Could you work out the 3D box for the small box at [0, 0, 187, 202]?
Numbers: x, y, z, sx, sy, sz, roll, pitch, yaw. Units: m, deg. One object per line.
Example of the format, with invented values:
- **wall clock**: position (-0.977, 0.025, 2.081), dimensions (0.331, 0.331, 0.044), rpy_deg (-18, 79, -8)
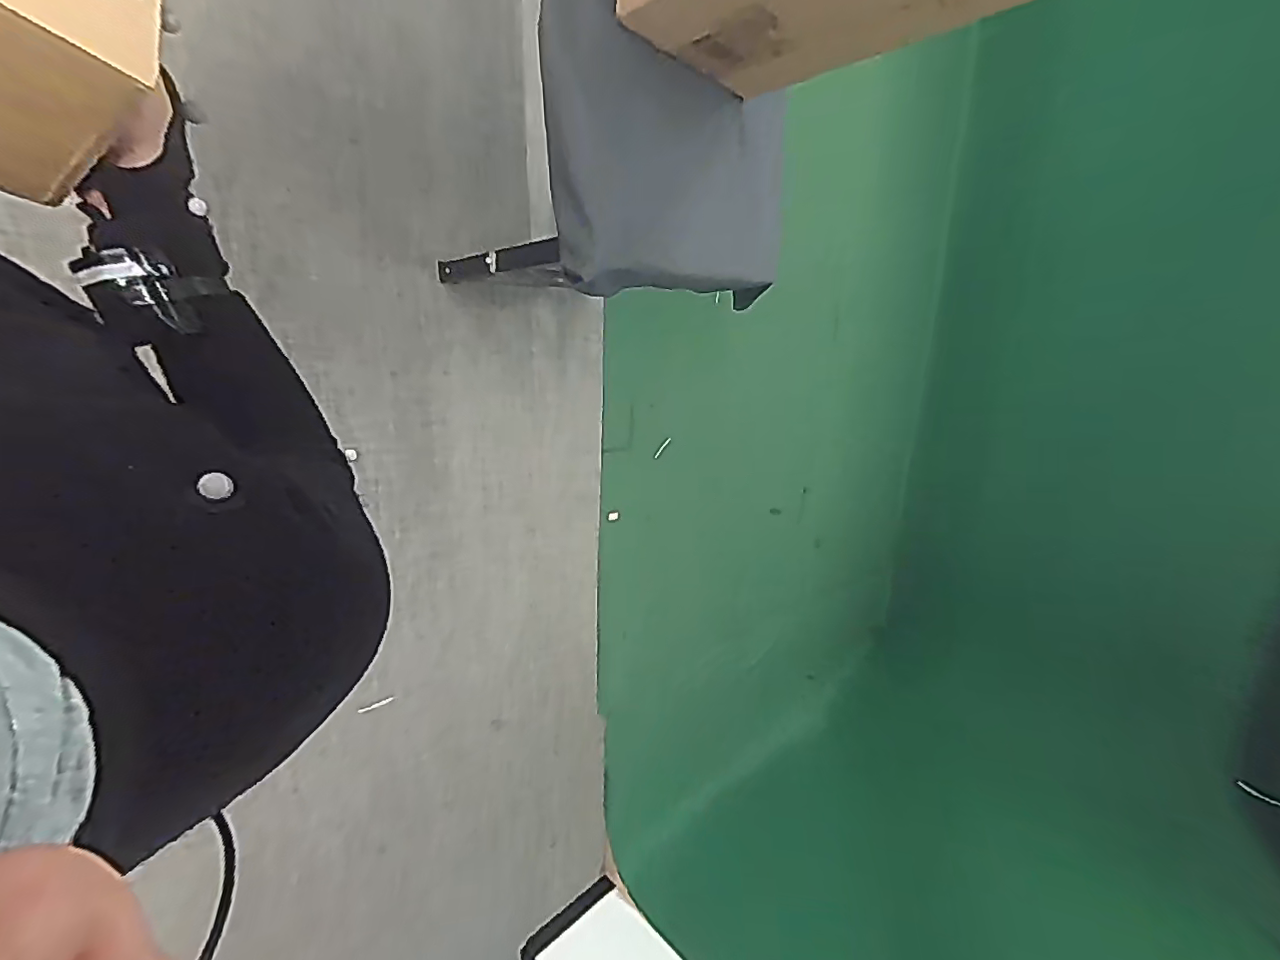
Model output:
- **small box**: position (-0.351, -0.267, 0.251), dimensions (0.179, 0.176, 0.168), rpy_deg (5, 78, -59)
